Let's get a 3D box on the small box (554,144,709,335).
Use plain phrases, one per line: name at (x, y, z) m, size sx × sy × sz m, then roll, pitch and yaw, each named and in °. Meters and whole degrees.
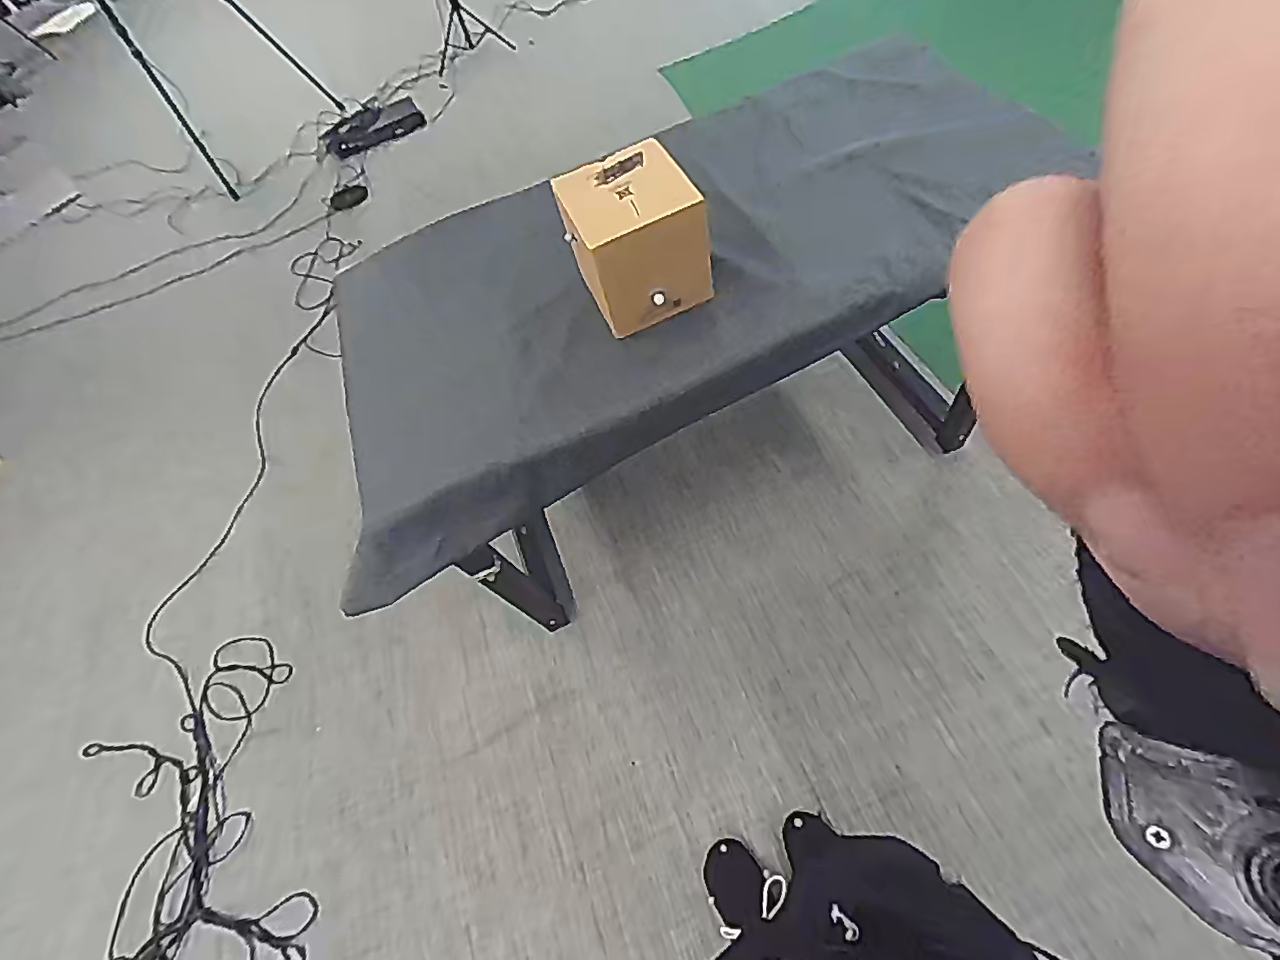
small box at (-0.008, -0.354, 0.811) m, size 0.168 × 0.176 × 0.179 m, roll -24°, pitch 60°, yaw -1°
